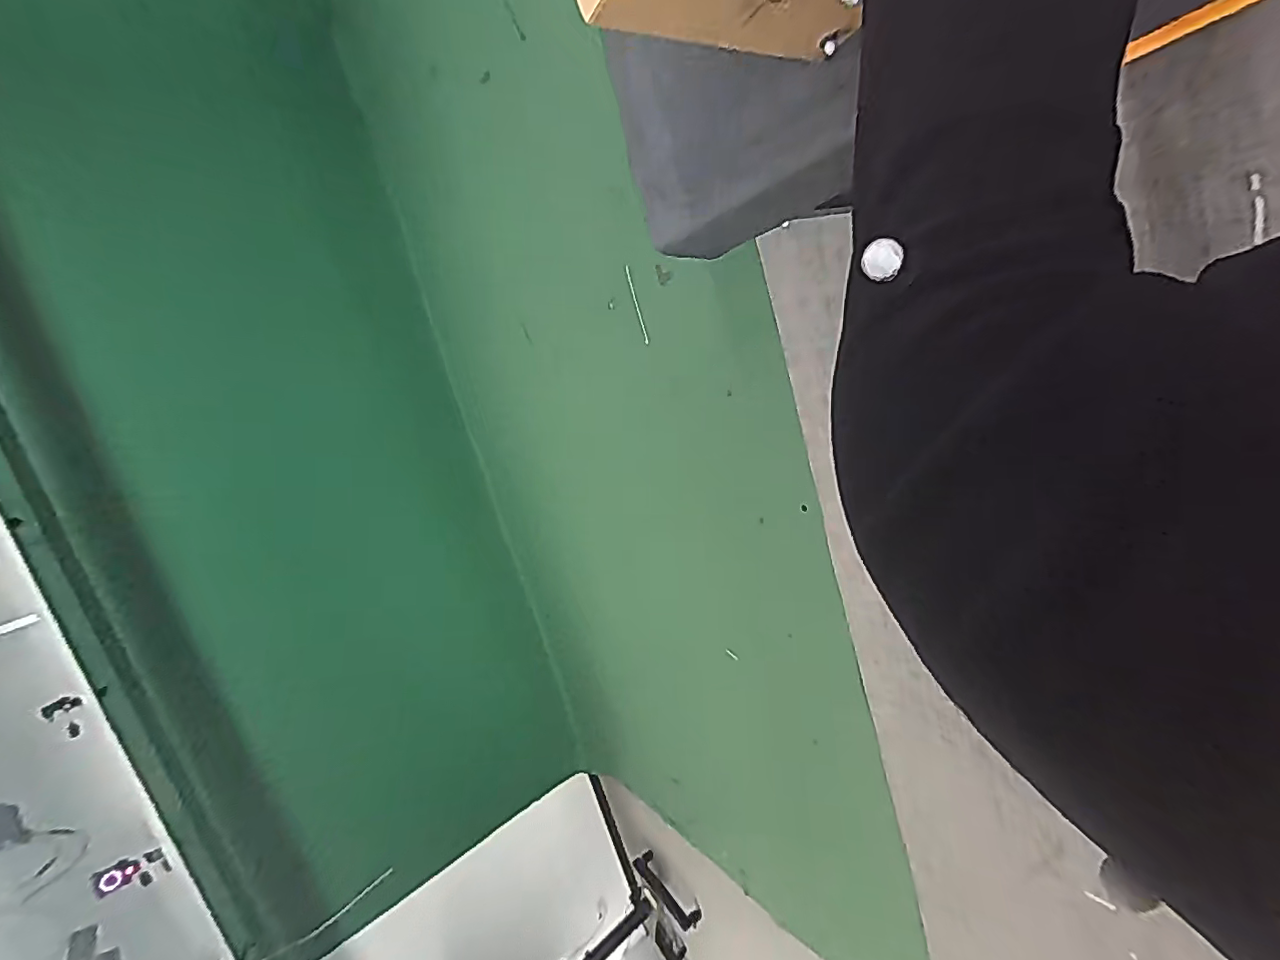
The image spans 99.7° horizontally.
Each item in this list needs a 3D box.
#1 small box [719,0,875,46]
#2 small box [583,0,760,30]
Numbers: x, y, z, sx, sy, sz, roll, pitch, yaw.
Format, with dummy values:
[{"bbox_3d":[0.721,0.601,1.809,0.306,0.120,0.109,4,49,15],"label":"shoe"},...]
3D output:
[{"bbox_3d":[0.167,-0.554,0.511,0.168,0.176,0.179,-7,103,56],"label":"small box"},{"bbox_3d":[0.038,-0.502,0.422,0.168,0.176,0.179,-10,101,58],"label":"small box"}]
